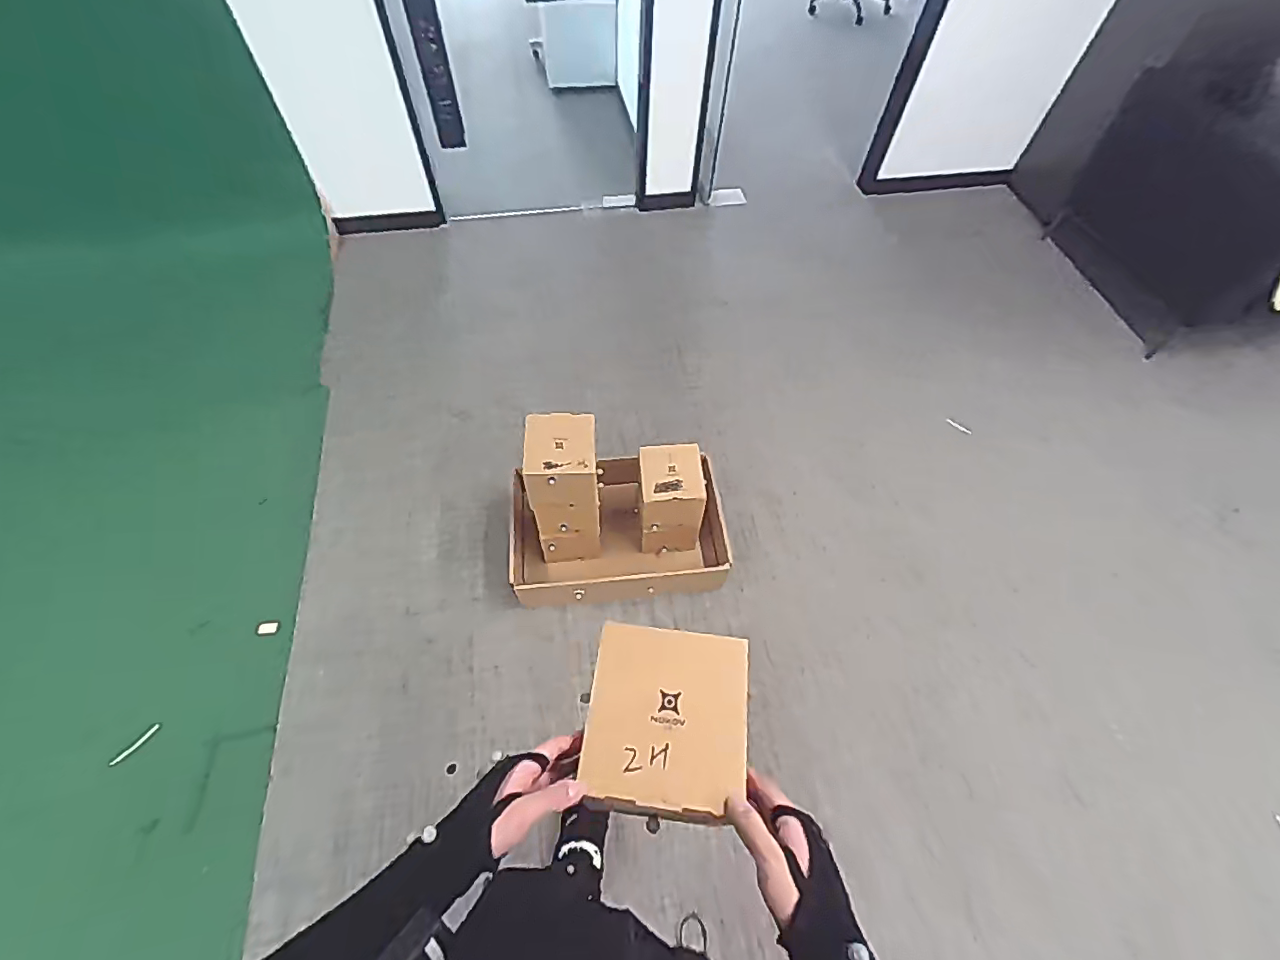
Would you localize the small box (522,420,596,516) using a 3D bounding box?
[{"bbox_3d":[-0.193,-0.028,1.323,0.168,0.176,0.179,-1,56,-5],"label":"small box"}]

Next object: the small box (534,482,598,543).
[{"bbox_3d":[-0.202,0.053,1.466,0.168,0.176,0.179,-3,57,-6],"label":"small box"}]

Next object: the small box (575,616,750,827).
[{"bbox_3d":[0.028,0.280,0.620,0.168,0.176,0.179,7,55,4],"label":"small box"}]

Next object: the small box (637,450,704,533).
[{"bbox_3d":[0.079,0.038,1.488,0.168,0.176,0.179,-3,56,-3],"label":"small box"}]
